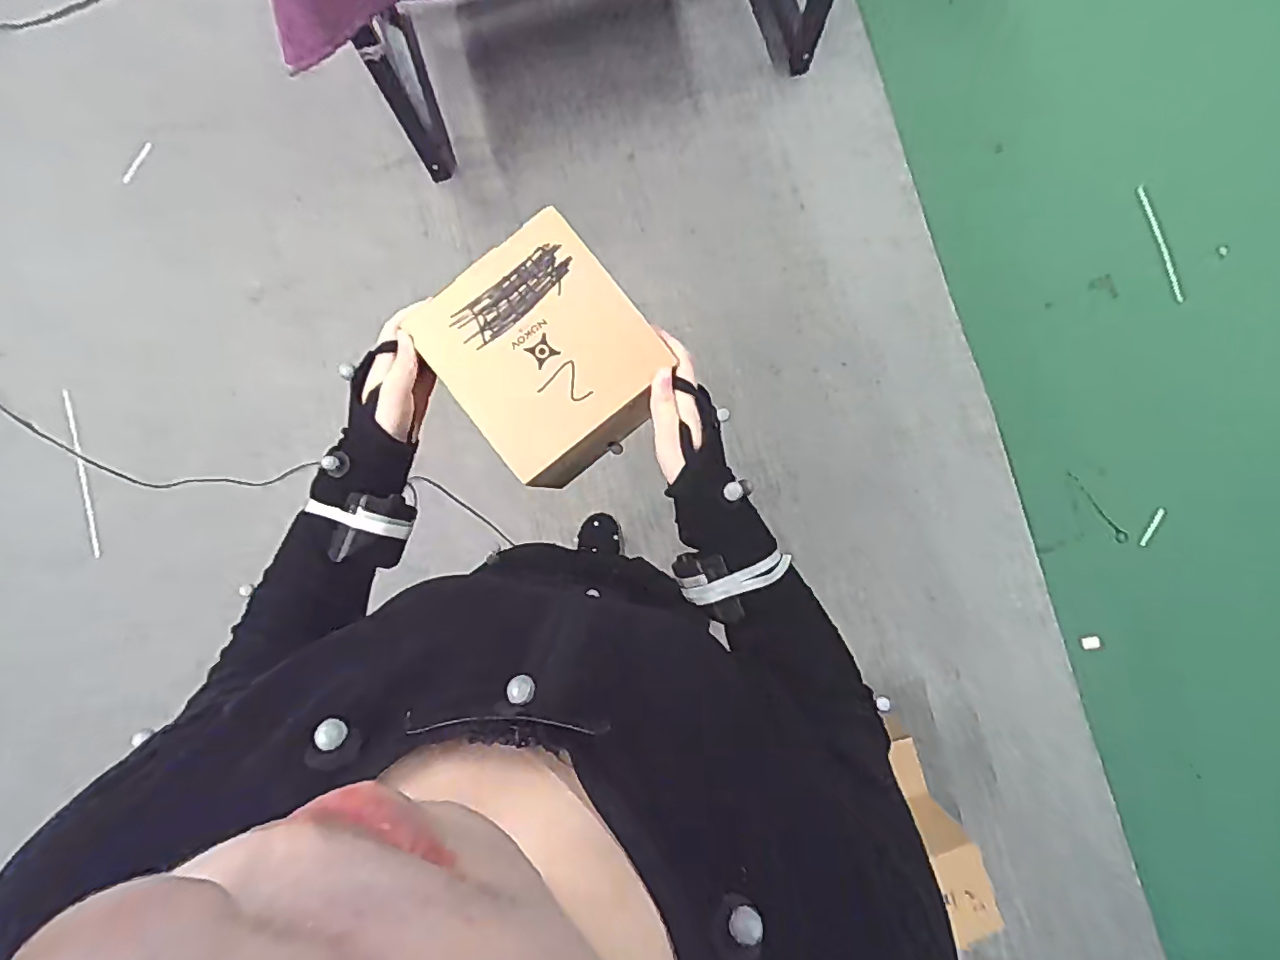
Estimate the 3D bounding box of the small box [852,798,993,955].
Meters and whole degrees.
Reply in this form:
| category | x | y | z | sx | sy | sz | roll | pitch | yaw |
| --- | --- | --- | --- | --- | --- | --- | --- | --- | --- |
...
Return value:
| category | x | y | z | sx | sy | sz | roll | pitch | yaw |
| --- | --- | --- | --- | --- | --- | --- | --- | --- | --- |
| small box | 0.545 | 0.776 | 1.076 | 0.179 | 0.176 | 0.168 | -15 | 88 | -3 |
